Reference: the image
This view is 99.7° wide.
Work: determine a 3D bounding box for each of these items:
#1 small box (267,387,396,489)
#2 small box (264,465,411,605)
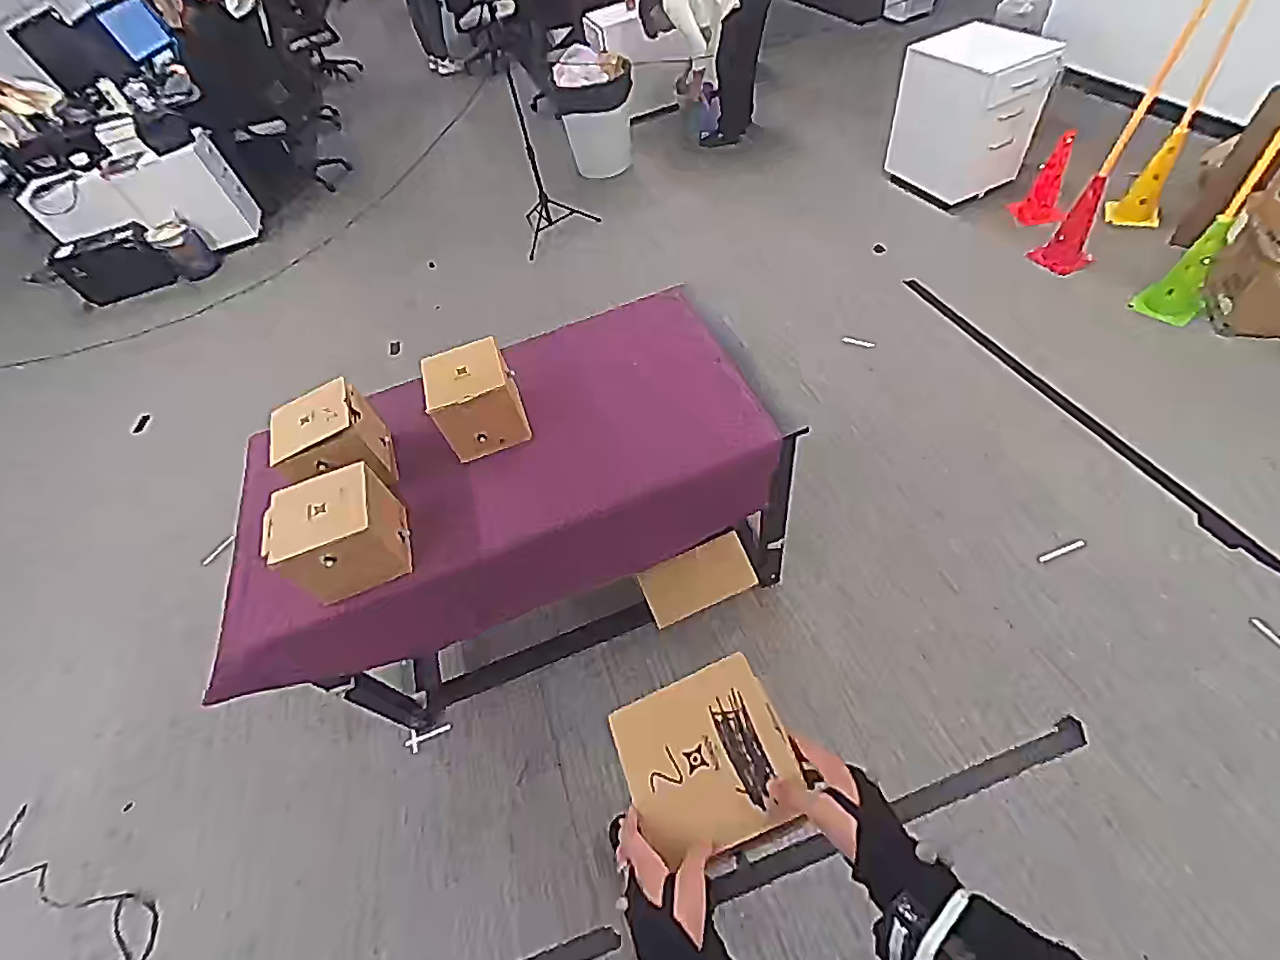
[{"bbox_3d":[-0.652,-0.061,1.154,0.179,0.176,0.168,-23,54,-8],"label":"small box"},{"bbox_3d":[-0.556,0.108,1.011,0.179,0.176,0.168,-21,53,-6],"label":"small box"}]
